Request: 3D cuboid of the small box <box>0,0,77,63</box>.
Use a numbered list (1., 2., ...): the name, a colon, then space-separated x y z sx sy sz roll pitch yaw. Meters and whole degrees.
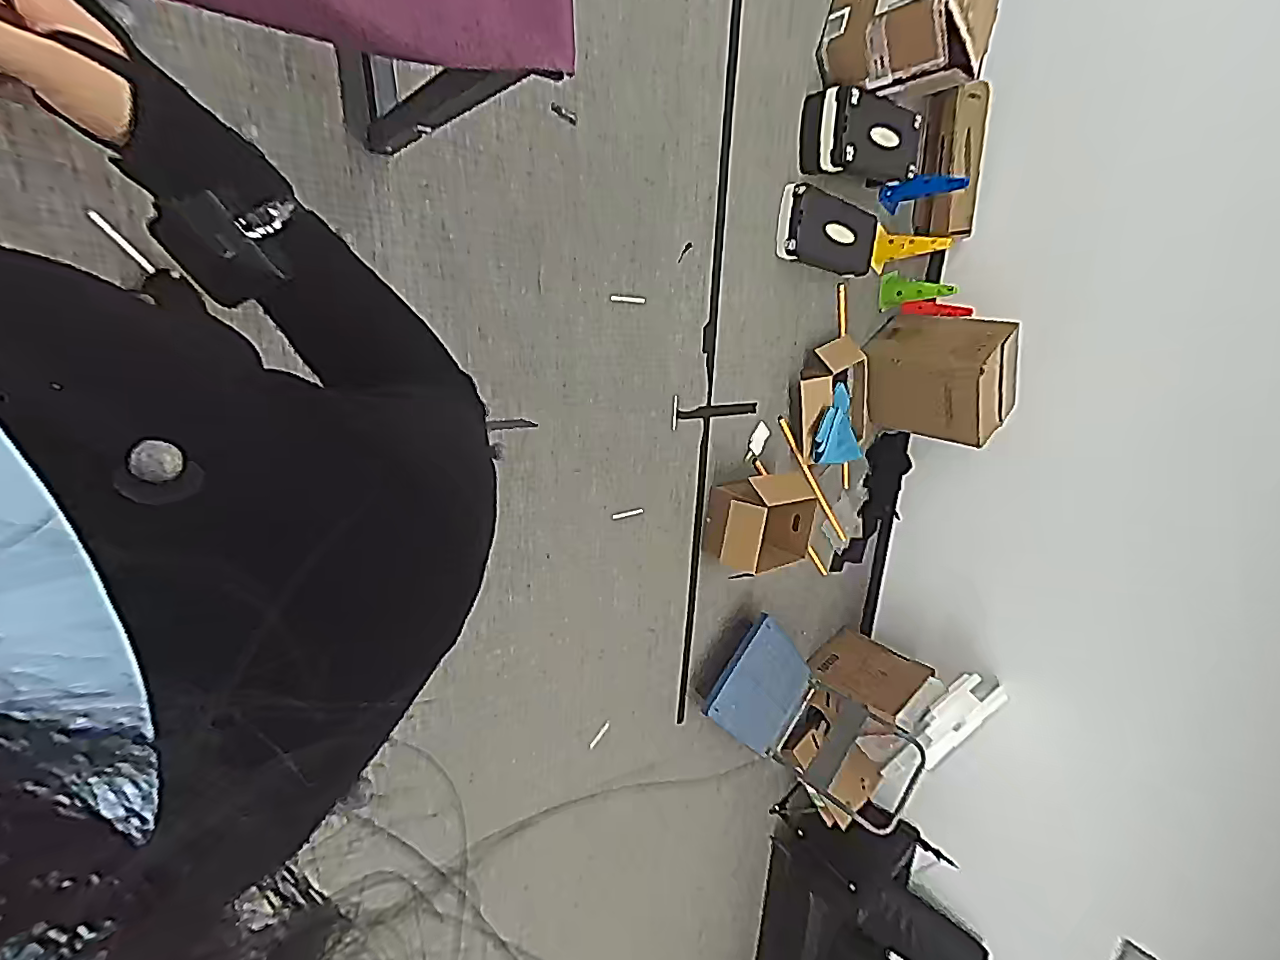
1. small box: -0.993 -0.778 0.822 0.168 0.176 0.179 -11 111 -41
